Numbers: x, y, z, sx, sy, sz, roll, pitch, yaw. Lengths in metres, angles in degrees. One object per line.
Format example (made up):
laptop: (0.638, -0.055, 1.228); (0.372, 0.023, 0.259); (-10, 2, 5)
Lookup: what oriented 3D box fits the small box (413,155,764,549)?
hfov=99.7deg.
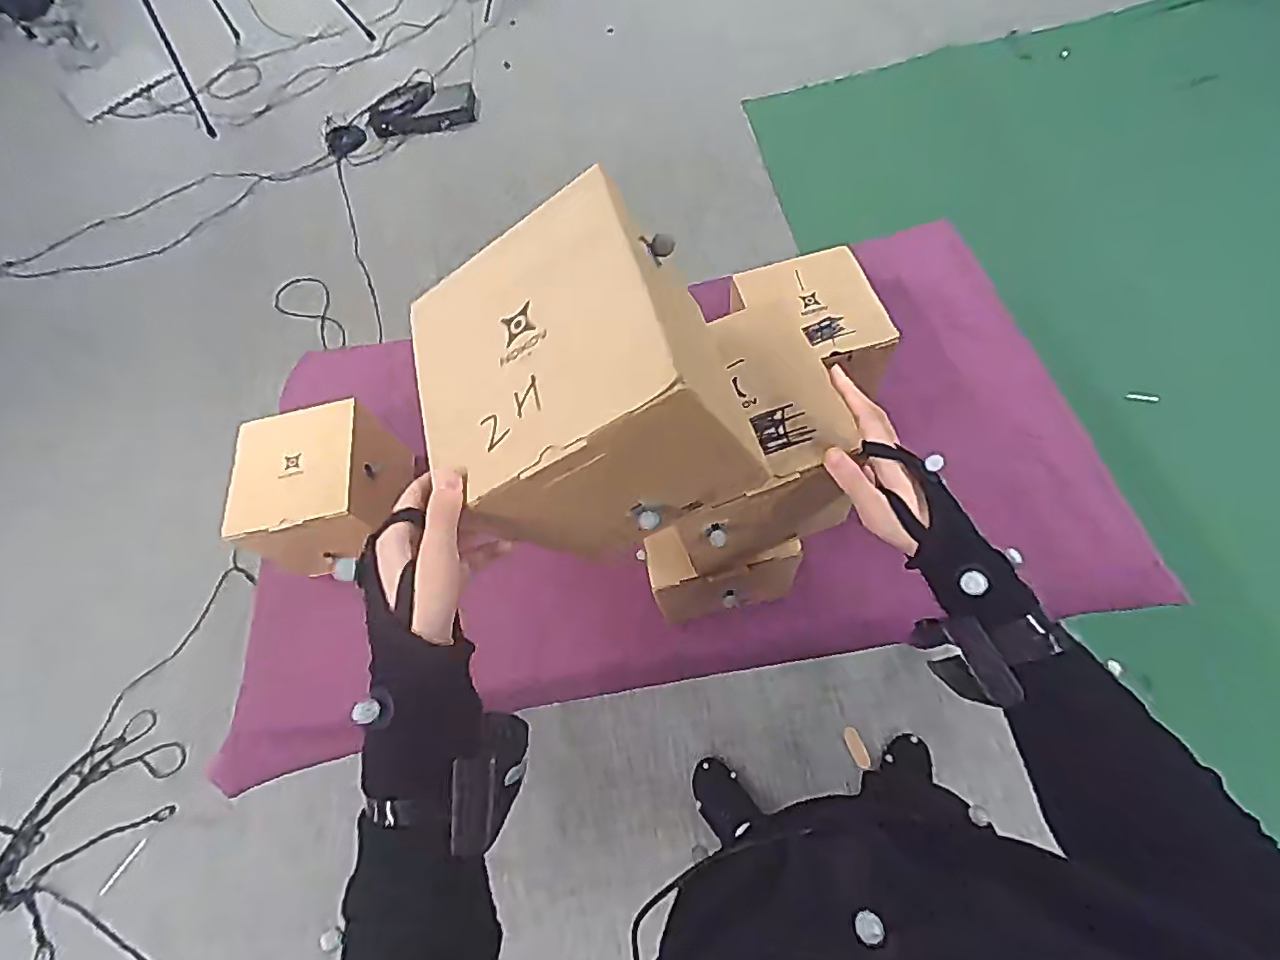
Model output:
small box: (-0.031, -0.069, 0.384); (0.168, 0.176, 0.179); (-25, 64, 19)

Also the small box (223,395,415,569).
small box: (-0.439, 0.009, 0.772); (0.168, 0.176, 0.179); (-12, 64, 2)

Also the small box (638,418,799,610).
small box: (0.085, 0.054, 0.671); (0.168, 0.176, 0.179); (-14, 63, 2)

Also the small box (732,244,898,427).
small box: (0.233, -0.193, 0.769); (0.168, 0.176, 0.179); (-14, 62, 2)
